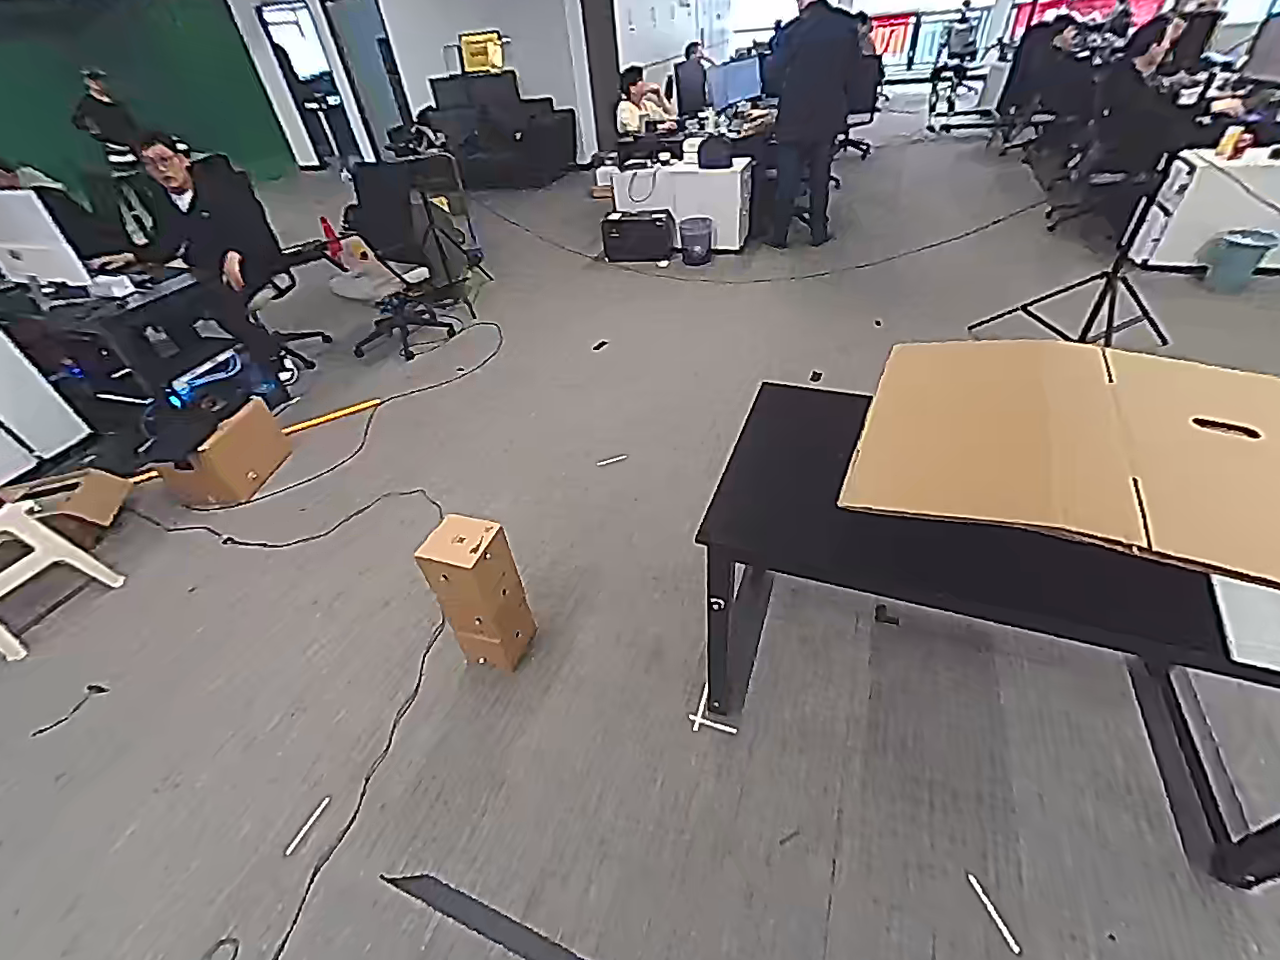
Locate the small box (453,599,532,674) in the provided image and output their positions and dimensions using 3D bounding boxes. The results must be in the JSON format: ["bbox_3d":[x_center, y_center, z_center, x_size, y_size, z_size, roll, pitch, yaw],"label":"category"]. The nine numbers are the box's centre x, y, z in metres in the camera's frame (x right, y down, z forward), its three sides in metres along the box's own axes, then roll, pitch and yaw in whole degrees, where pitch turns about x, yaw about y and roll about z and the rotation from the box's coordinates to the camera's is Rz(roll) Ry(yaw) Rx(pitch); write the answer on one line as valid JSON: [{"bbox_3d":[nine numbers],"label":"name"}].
[{"bbox_3d":[-0.456,0.481,1.711,0.168,0.176,0.179,8,43,16],"label":"small box"}]

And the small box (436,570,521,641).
[{"bbox_3d":[-0.471,0.353,1.611,0.168,0.176,0.179,7,40,13],"label":"small box"}]

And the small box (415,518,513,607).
[{"bbox_3d":[-0.481,0.232,1.503,0.179,0.176,0.168,8,42,16],"label":"small box"}]
